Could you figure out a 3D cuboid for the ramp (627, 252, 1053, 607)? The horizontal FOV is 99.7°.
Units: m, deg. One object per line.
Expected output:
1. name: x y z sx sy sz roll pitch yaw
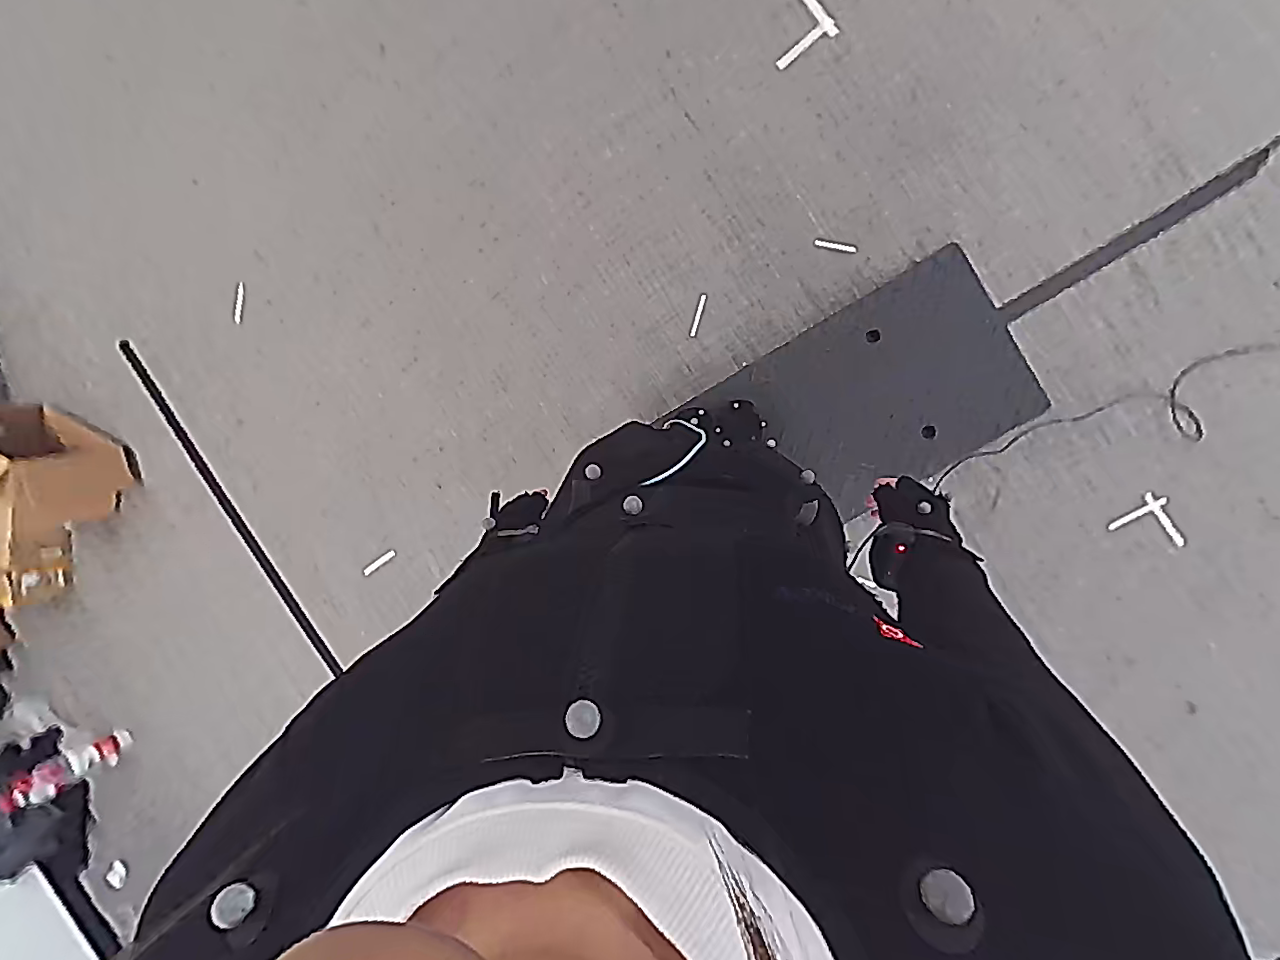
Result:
1. ramp: 0.506 -0.127 1.418 0.991 0.206 0.509 -34 87 14
